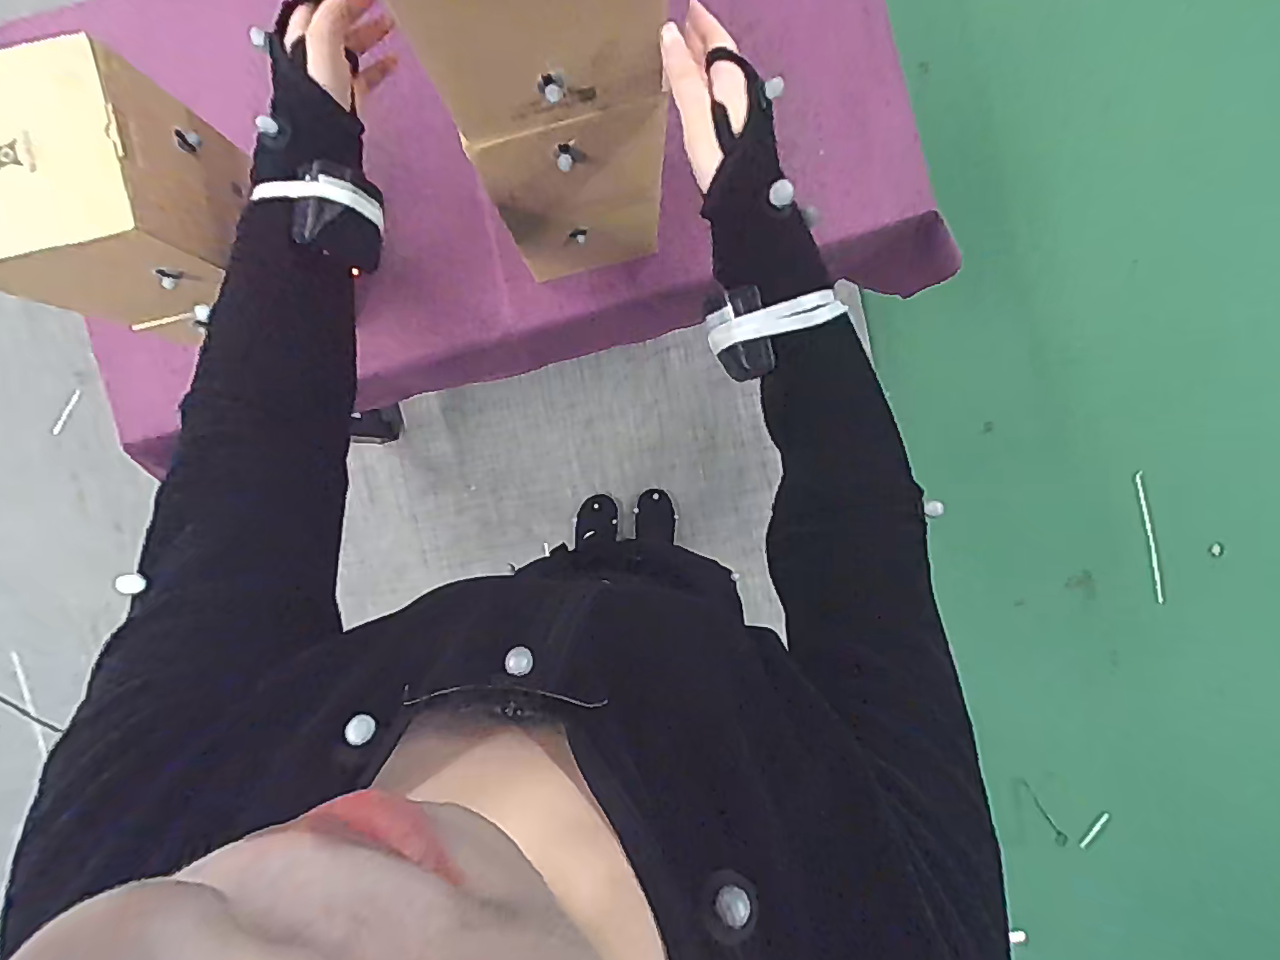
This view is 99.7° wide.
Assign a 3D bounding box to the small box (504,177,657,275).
[{"bbox_3d":[-0.080,-0.378,0.680,0.179,0.176,0.168,-14,92,0],"label":"small box"}]

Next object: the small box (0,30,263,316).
[{"bbox_3d":[-0.505,-0.273,0.522,0.179,0.176,0.168,-12,92,1],"label":"small box"}]

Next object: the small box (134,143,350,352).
[{"bbox_3d":[-0.505,-0.279,0.686,0.168,0.176,0.179,-13,91,1],"label":"small box"}]

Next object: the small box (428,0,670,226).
[{"bbox_3d":[-0.078,-0.373,0.516,0.179,0.176,0.168,-14,92,2],"label":"small box"}]
